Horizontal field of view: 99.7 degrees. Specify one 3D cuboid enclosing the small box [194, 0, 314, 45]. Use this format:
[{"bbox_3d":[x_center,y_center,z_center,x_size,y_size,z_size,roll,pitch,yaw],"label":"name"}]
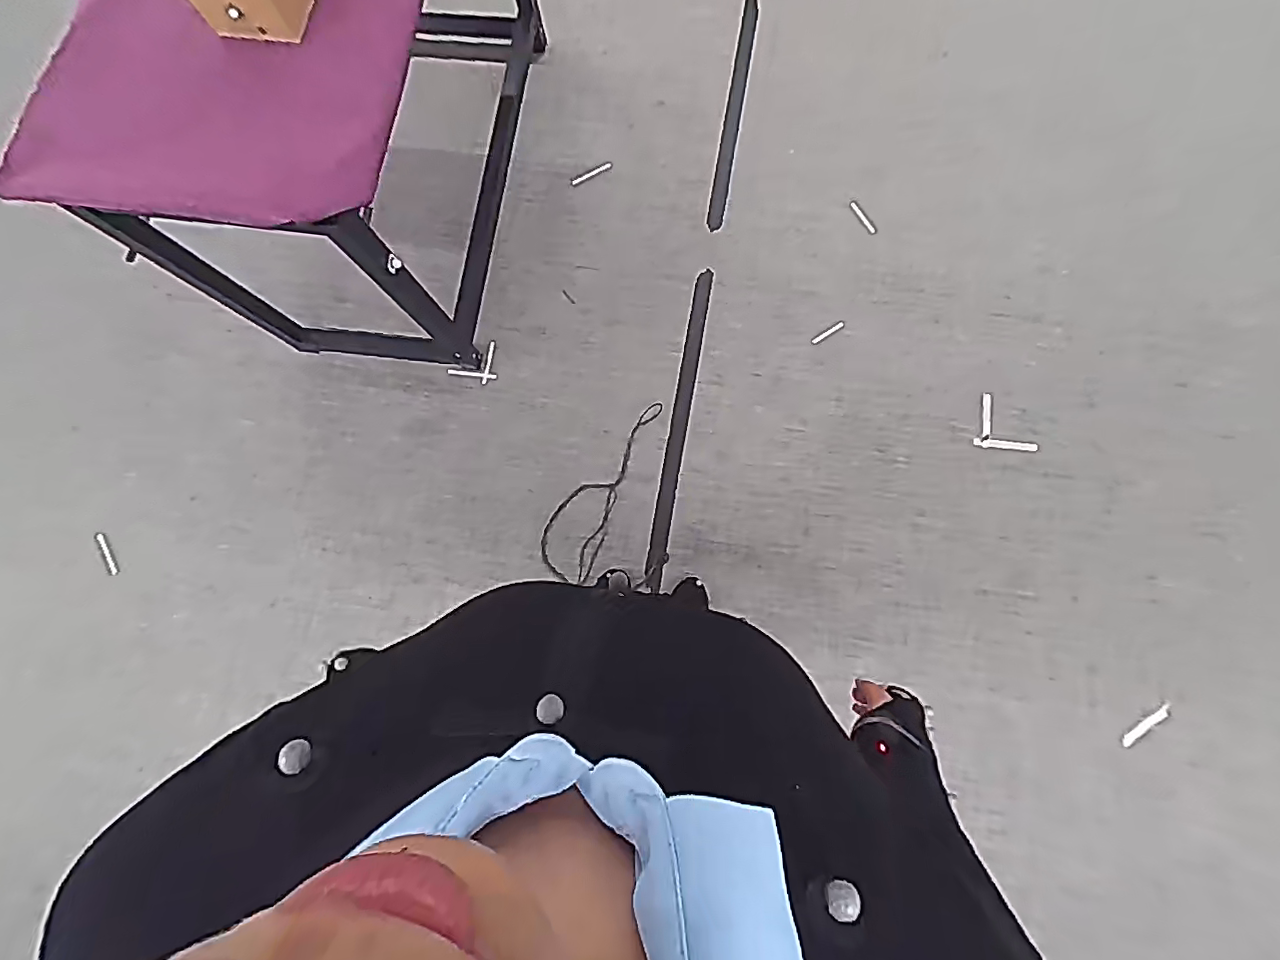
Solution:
[{"bbox_3d":[-0.683,-0.898,0.919,0.168,0.176,0.179,9,81,5],"label":"small box"}]
